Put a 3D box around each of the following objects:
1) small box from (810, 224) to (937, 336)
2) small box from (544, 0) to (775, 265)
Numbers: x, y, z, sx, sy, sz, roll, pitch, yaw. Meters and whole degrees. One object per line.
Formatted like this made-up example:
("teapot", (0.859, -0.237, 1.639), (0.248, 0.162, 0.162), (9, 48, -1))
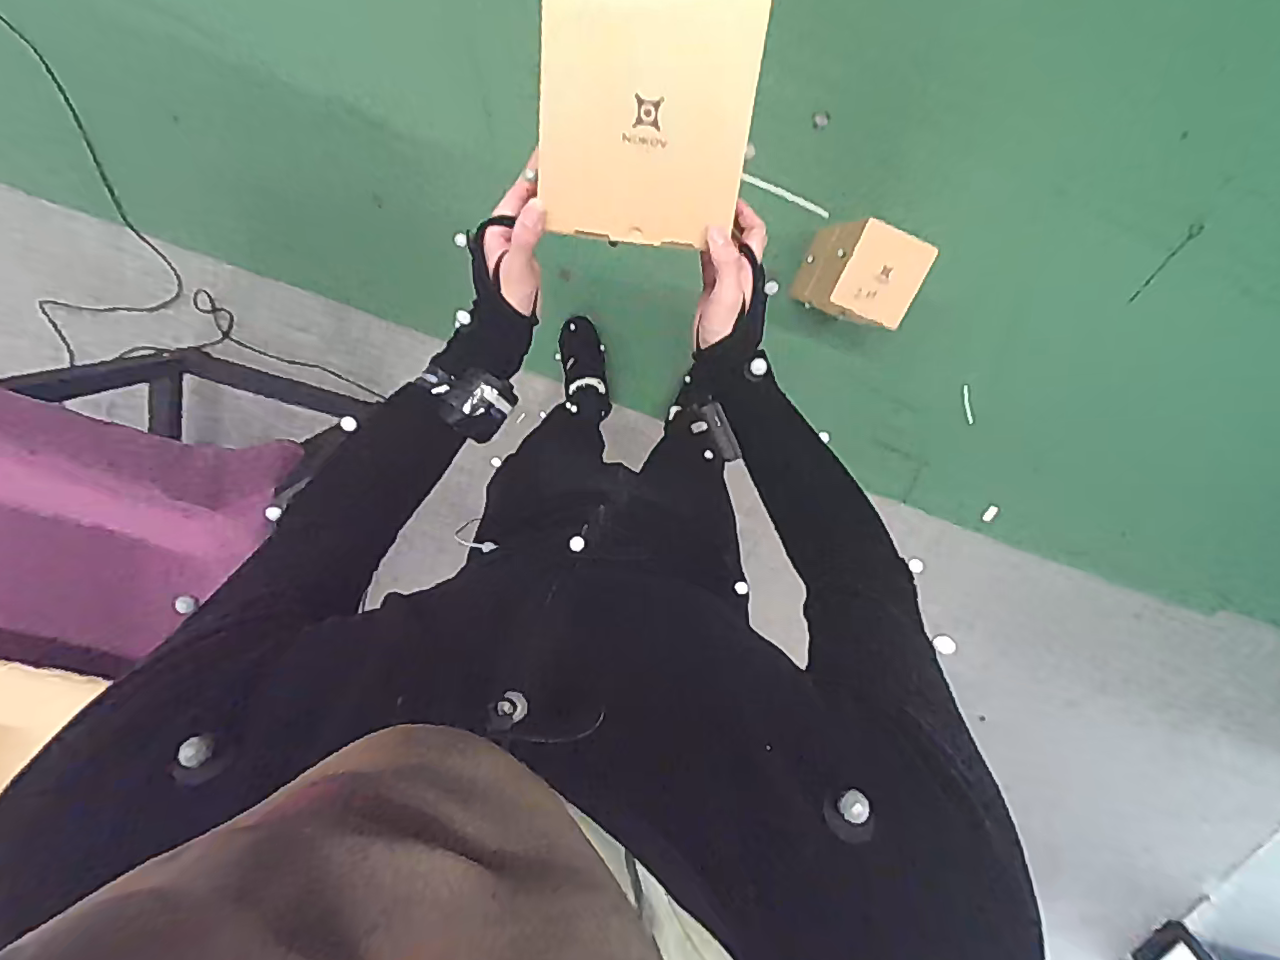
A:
("small box", (0.504, -0.441, 1.200), (0.168, 0.176, 0.179), (21, 109, -8))
("small box", (0.001, -0.304, 0.488), (0.168, 0.176, 0.179), (3, 118, -8))
